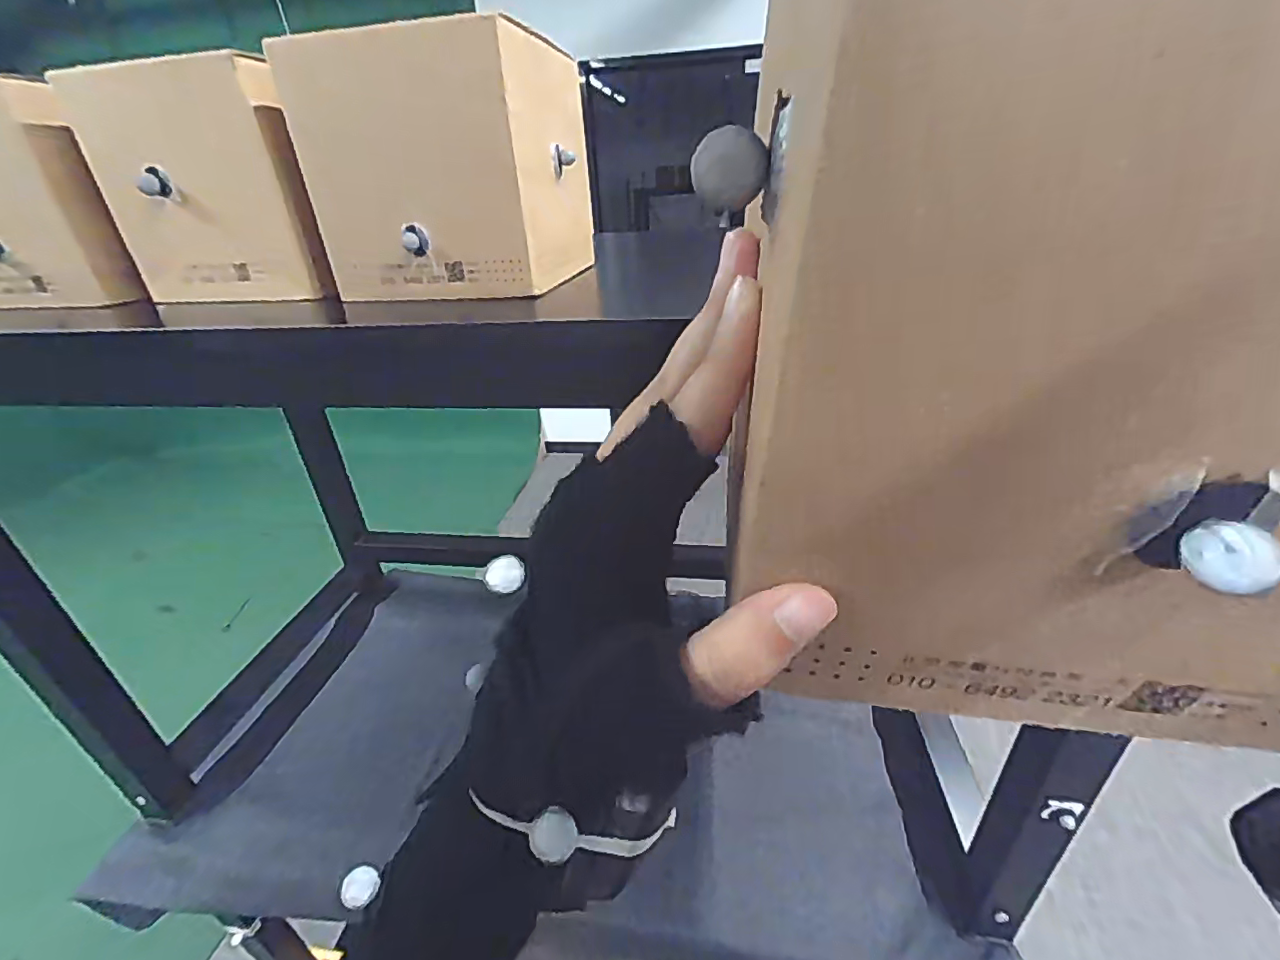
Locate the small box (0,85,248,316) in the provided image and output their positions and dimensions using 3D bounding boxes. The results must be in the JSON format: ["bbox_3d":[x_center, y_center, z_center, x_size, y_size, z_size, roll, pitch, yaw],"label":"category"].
[{"bbox_3d":[-0.527,-0.263,0.522,0.168,0.176,0.179,2,30,10],"label":"small box"}]

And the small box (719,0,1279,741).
[{"bbox_3d":[0.115,-0.048,0.160,0.168,0.176,0.179,5,41,6],"label":"small box"}]
